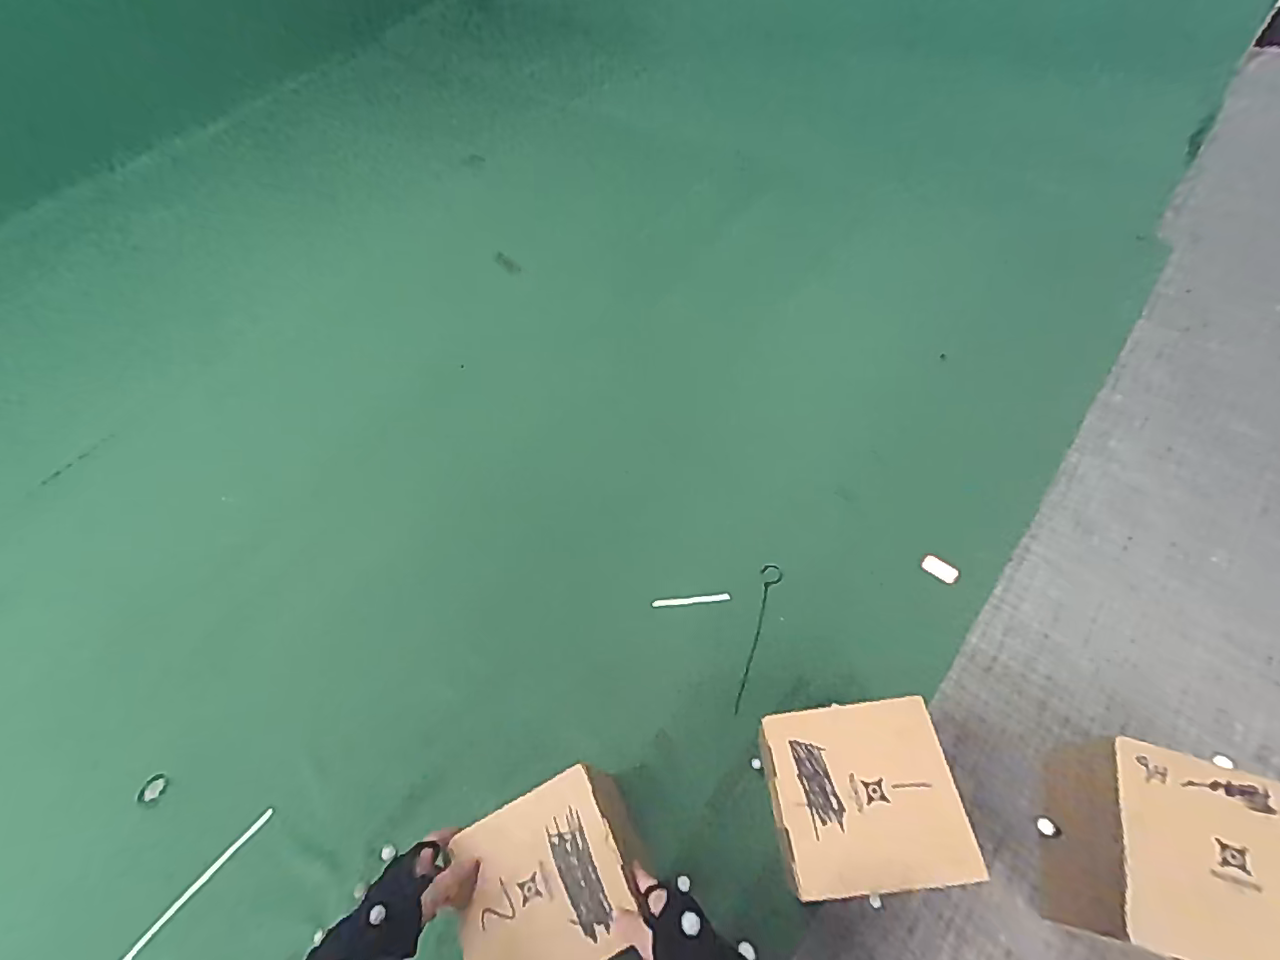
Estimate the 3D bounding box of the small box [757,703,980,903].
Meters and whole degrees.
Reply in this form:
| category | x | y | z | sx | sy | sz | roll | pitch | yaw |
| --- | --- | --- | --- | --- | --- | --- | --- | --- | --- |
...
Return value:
| category | x | y | z | sx | sy | sz | roll | pitch | yaw |
| --- | --- | --- | --- | --- | --- | --- | --- | --- | --- |
| small box | 0.234 | 0.364 | 0.611 | 0.179 | 0.176 | 0.168 | -9 | 56 | 4 |

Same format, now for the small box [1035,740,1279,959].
| category | x | y | z | sx | sy | sz | roll | pitch | yaw |
| --- | --- | --- | --- | --- | --- | --- | --- | --- | --- |
| small box | 0.524 | 0.389 | 0.539 | 0.168 | 0.176 | 0.179 | 14 | 61 | 19 |
